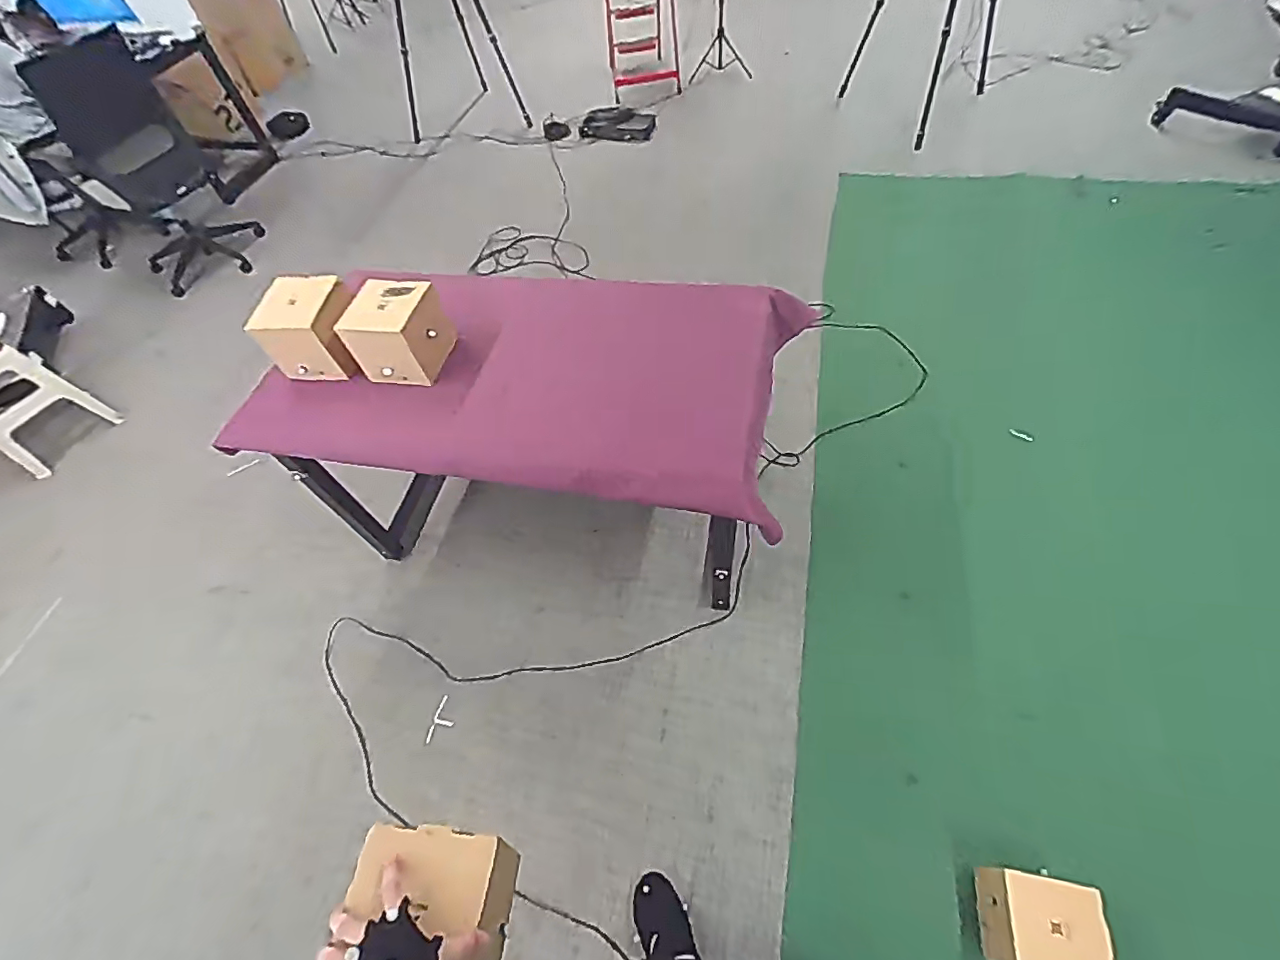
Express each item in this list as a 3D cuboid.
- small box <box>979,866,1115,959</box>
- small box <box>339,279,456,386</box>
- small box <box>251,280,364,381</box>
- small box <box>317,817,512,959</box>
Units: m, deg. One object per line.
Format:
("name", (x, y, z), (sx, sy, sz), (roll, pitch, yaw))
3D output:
("small box", (0.824, 0.916, 1.113), (0.179, 0.176, 0.168), (7, 57, 11))
("small box", (-0.560, -0.349, 1.281), (0.168, 0.176, 0.179), (6, 58, 12))
("small box", (-0.784, -0.366, 1.323), (0.168, 0.176, 0.179), (2, 57, 9))
("small box", (-0.269, 0.552, 0.683), (0.168, 0.176, 0.179), (3, 48, 4))
